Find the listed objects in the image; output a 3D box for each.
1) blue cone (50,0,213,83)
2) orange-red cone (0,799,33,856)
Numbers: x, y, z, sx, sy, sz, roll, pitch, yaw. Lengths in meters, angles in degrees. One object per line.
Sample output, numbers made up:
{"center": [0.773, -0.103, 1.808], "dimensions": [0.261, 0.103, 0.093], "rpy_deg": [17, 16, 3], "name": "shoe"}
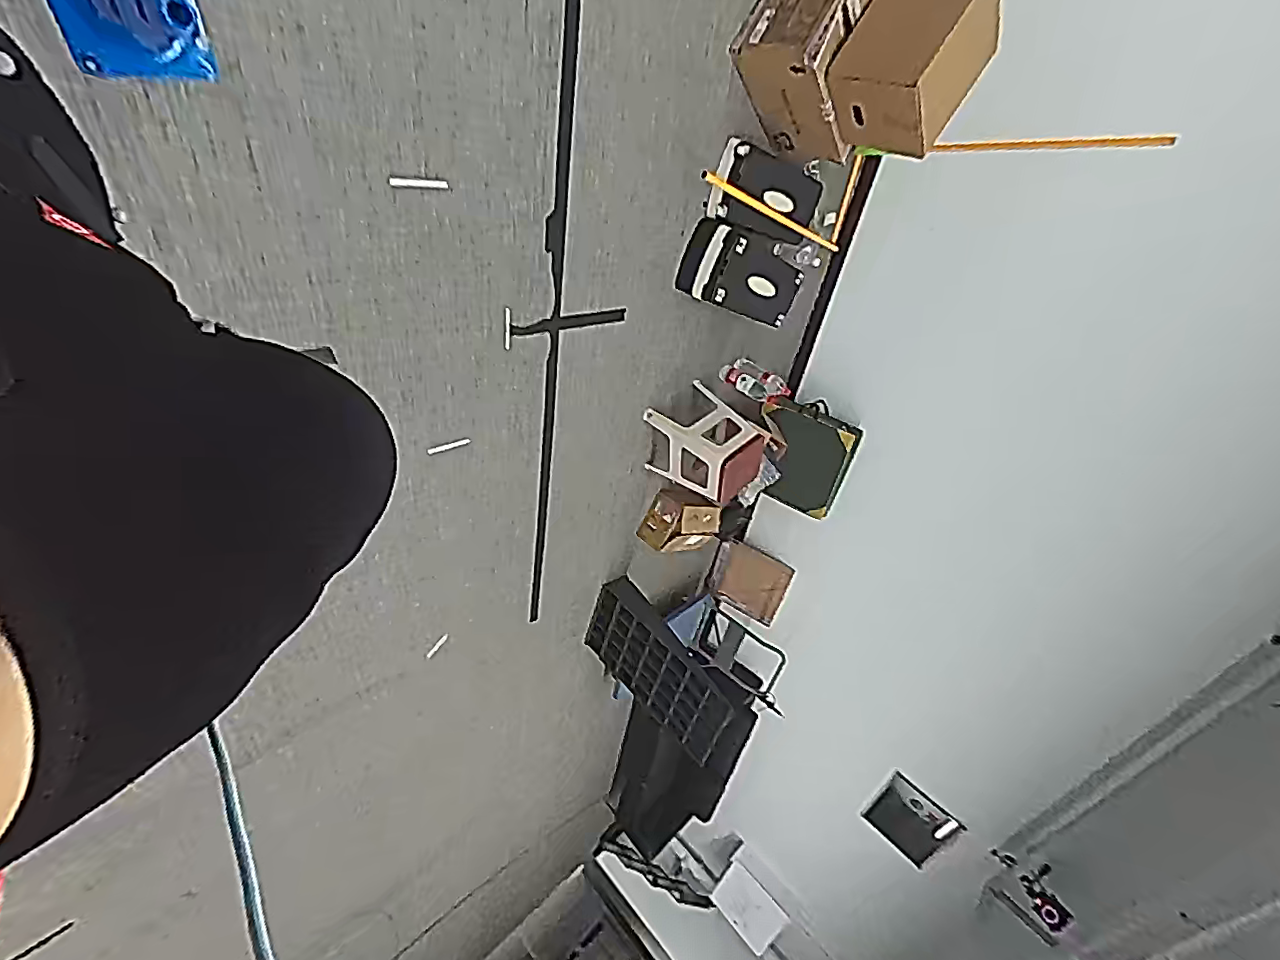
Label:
{"center": [-0.731, -0.695, 0.810], "dimensions": [0.193, 0.380, 0.192], "rpy_deg": [-28, 141, -36], "name": "blue cone"}
{"center": [-1.598, 0.995, 1.286], "dimensions": [0.199, 0.360, 0.198], "rpy_deg": [-29, 141, -38], "name": "orange-red cone"}
